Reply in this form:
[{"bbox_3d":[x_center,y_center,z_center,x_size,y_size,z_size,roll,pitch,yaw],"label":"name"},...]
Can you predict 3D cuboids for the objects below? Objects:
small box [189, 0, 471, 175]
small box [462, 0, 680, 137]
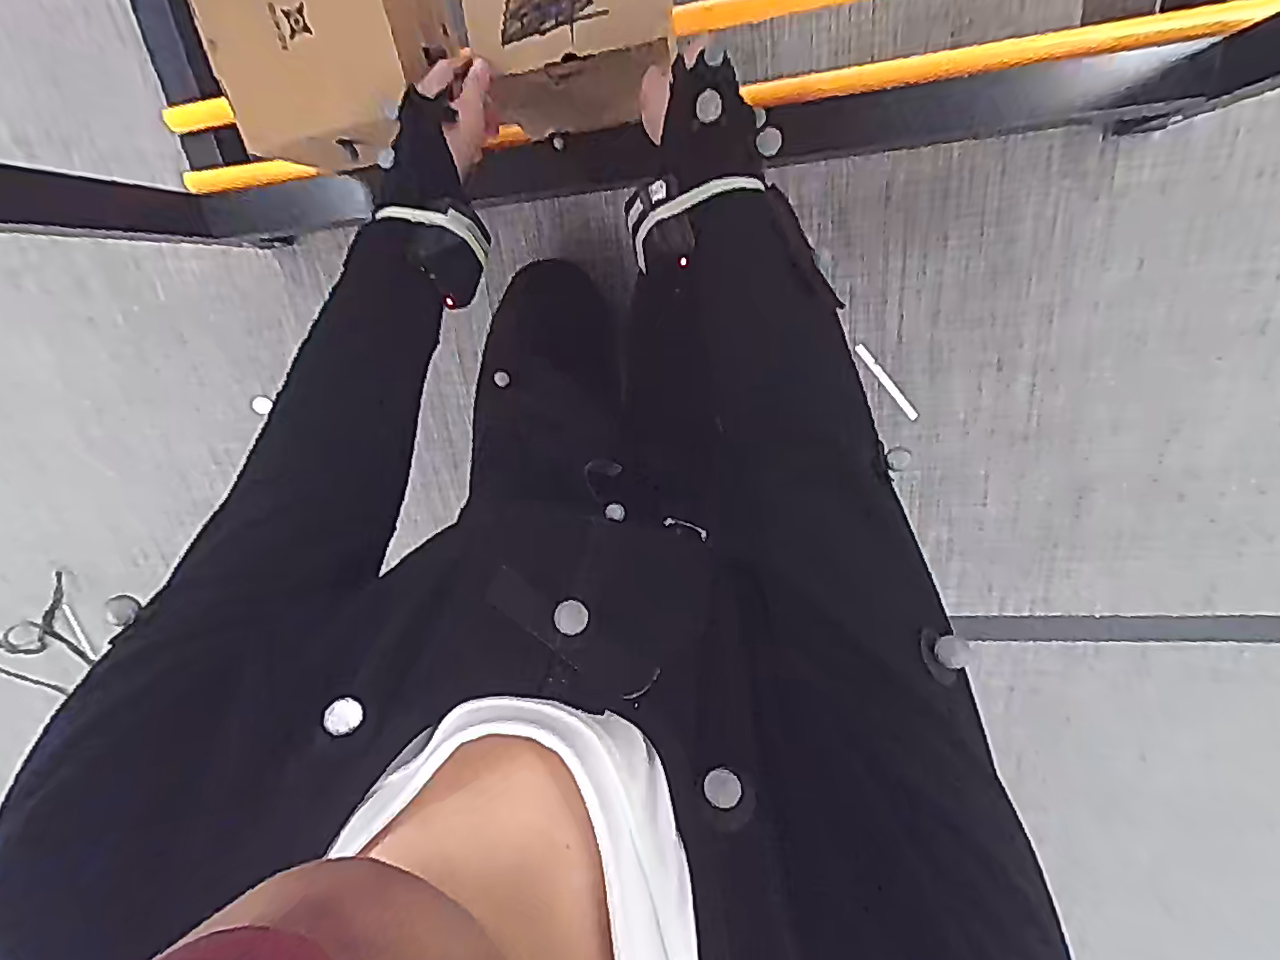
[{"bbox_3d":[-0.287,-0.420,0.535,0.179,0.176,0.168,-8,110,10],"label":"small box"},{"bbox_3d":[-0.056,-0.442,0.496,0.168,0.176,0.179,-5,103,9],"label":"small box"}]
